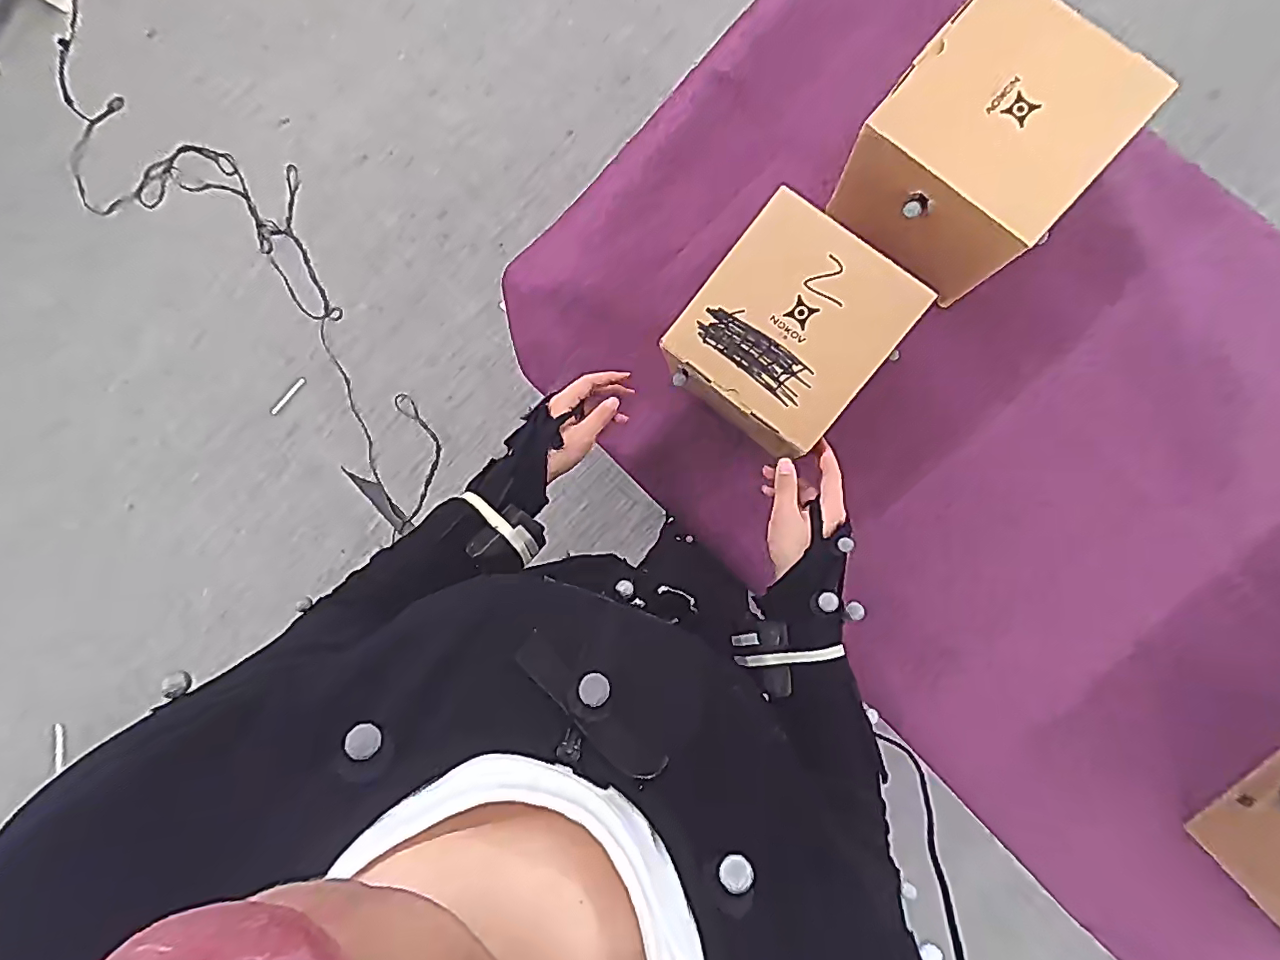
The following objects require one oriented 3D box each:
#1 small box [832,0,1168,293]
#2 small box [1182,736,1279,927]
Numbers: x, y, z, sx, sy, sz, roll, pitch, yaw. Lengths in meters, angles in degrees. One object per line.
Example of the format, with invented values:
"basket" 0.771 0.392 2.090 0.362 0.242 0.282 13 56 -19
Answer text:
"small box" 0.320 -0.309 0.528 0.179 0.176 0.168 42 95 6
"small box" 0.672 0.364 0.478 0.168 0.176 0.179 -43 84 4
